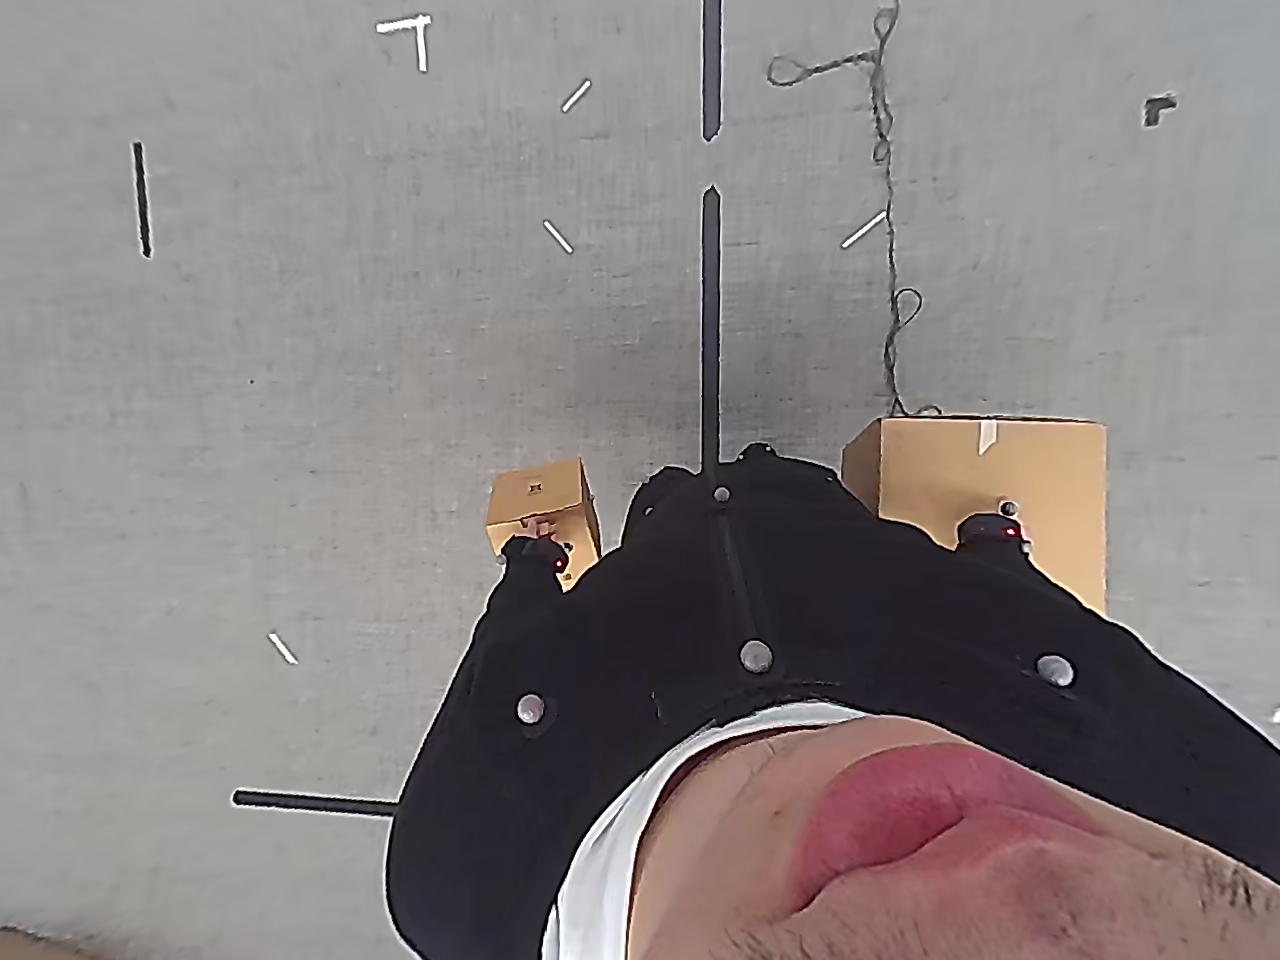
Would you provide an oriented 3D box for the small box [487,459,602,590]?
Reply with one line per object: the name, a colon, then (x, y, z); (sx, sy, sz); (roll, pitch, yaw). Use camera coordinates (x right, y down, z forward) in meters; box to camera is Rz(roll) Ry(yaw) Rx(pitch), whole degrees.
small box: (-0.170, 0.087, 1.005); (0.168, 0.179, 0.176); (-12, 119, -2)
